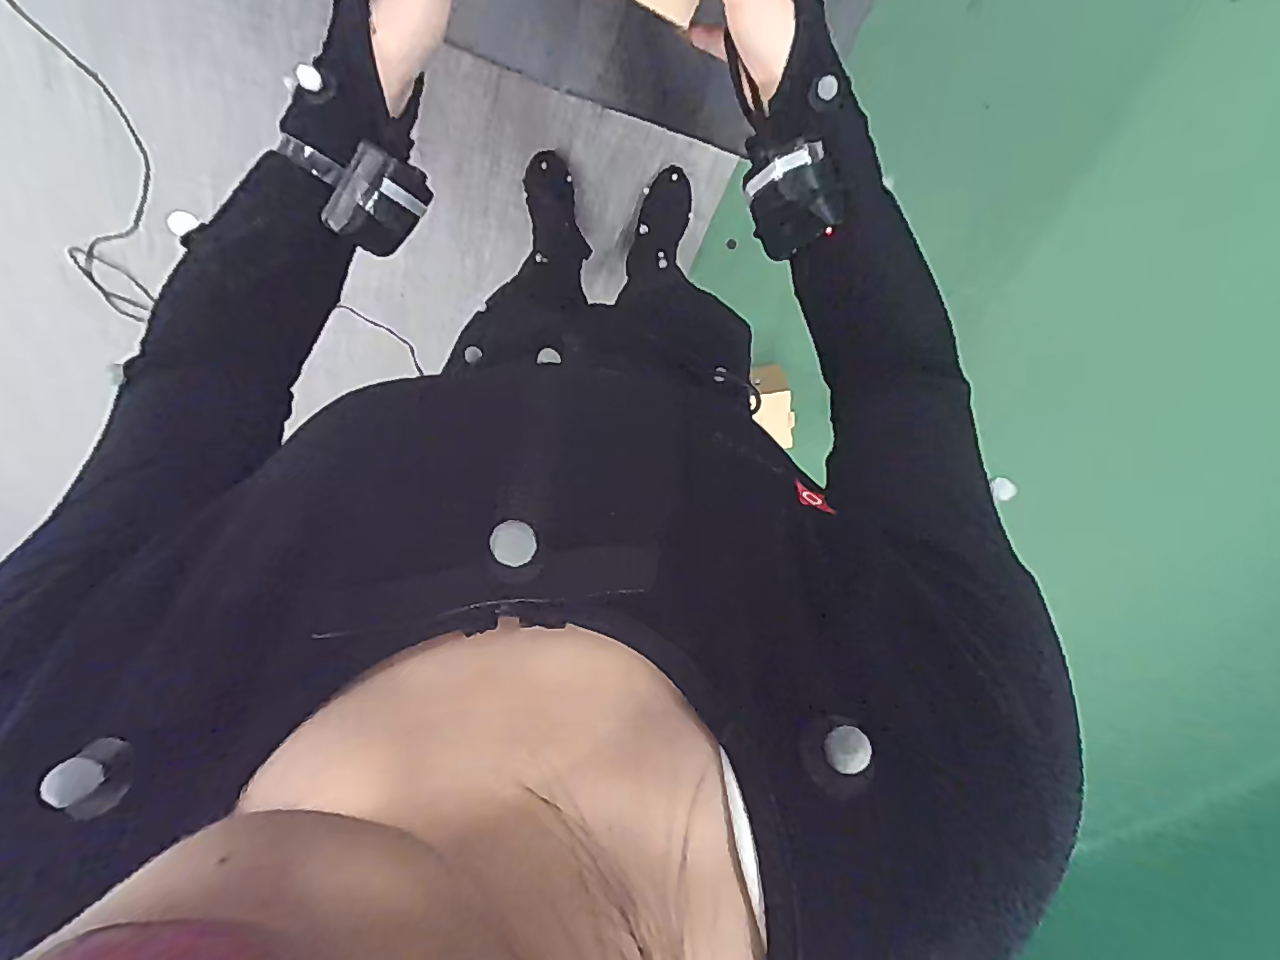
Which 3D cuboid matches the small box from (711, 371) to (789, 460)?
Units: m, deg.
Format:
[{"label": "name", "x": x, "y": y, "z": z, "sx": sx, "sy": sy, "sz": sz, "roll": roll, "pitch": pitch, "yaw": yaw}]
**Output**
[{"label": "small box", "x": 0.286, "y": -0.173, "z": 1.416, "sx": 0.179, "sy": 0.176, "sz": 0.168, "roll": -7, "pitch": 123, "yaw": 8}]
